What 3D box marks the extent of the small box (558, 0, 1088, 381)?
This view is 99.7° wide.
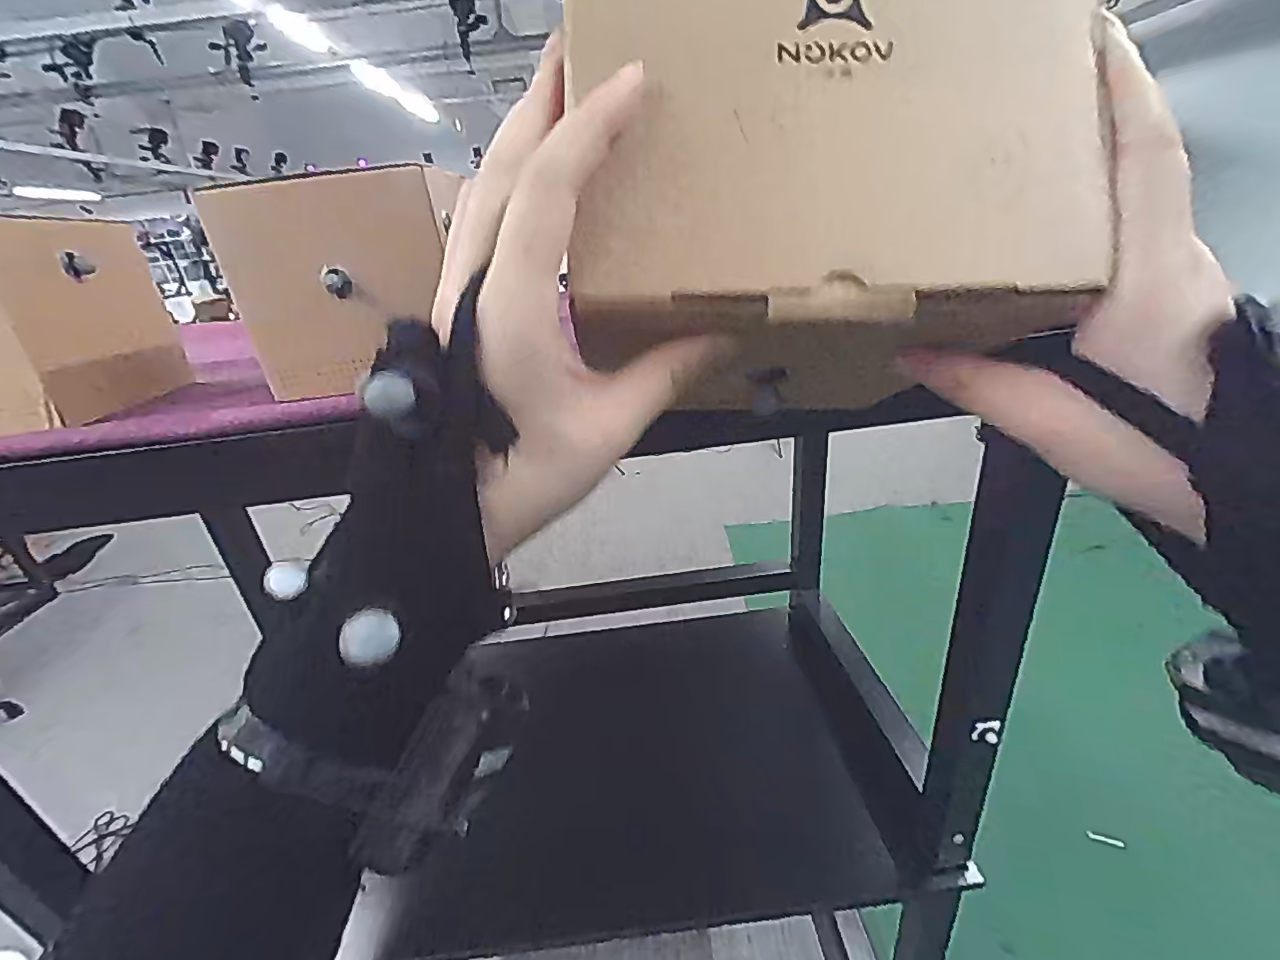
[{"bbox_3d":[0.055,-0.147,0.250,0.168,0.179,0.176,-1,-3,-2],"label":"small box"}]

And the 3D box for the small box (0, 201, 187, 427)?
[{"bbox_3d":[-0.564,-0.148,0.488,0.168,0.176,0.179,-7,24,-4],"label":"small box"}]
